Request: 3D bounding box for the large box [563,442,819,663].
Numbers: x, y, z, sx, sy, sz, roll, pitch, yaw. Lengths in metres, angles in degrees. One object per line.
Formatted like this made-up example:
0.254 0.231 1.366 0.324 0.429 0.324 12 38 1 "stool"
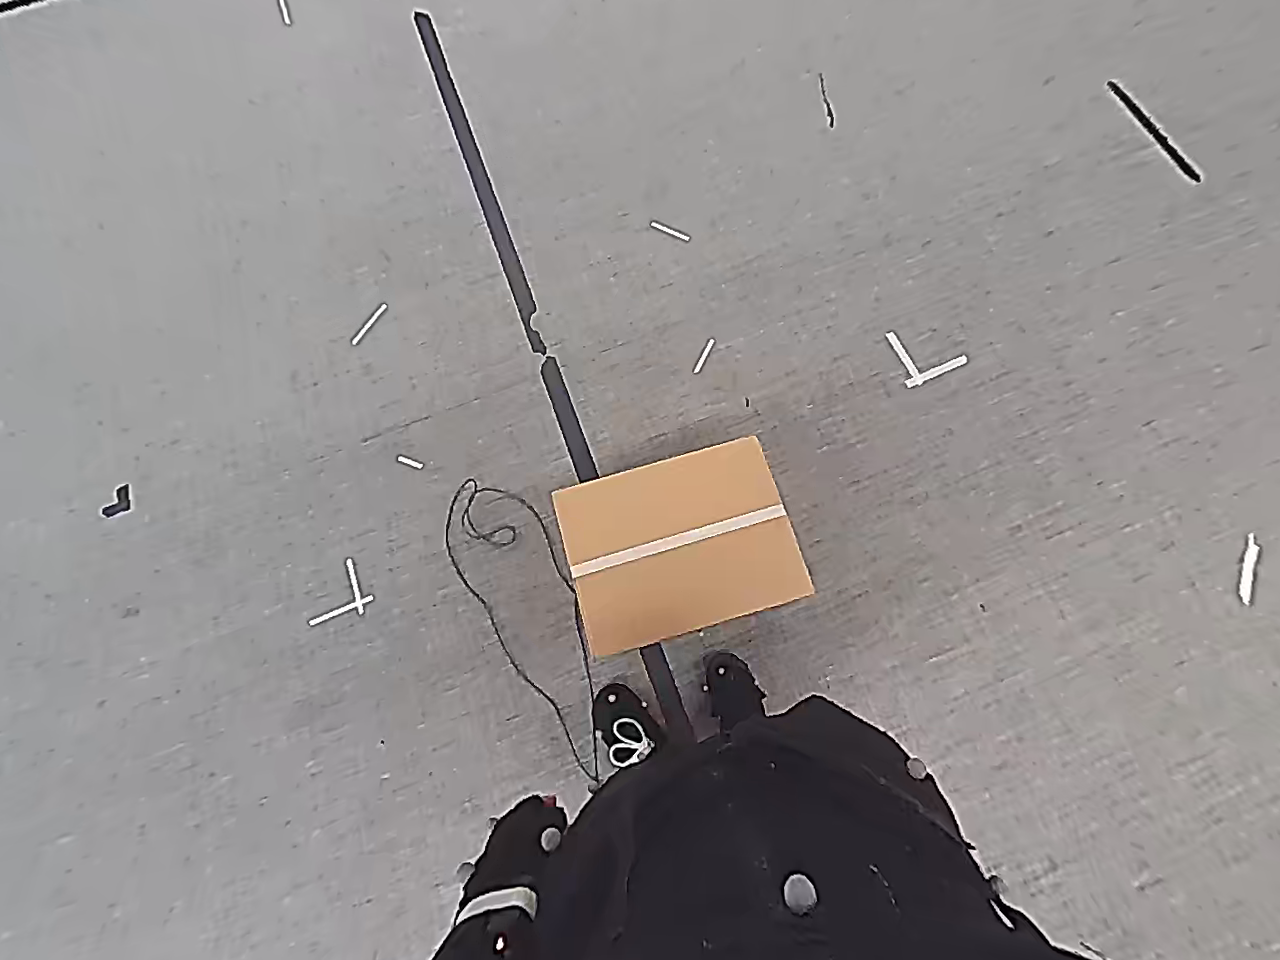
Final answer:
0.089 0.164 1.119 0.408 0.320 0.320 -16 74 -3 "large box"
